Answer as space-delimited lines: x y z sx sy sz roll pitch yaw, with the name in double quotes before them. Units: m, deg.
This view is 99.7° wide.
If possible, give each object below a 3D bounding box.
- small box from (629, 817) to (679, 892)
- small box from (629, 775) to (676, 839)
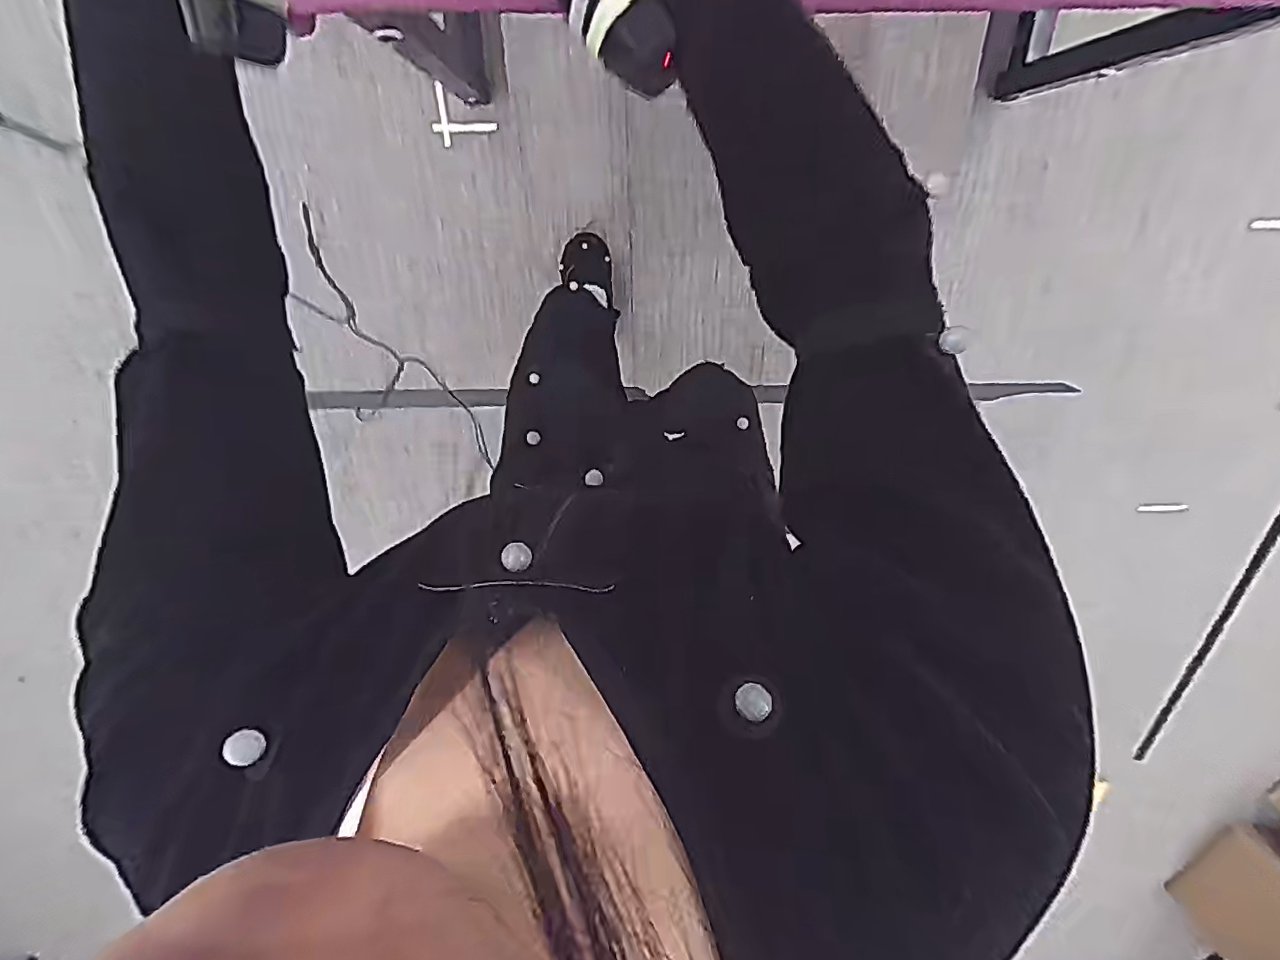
"small box" 0.049 1.352 1.963 0.168 0.176 0.179 -5 117 0
"small box" 0.047 1.278 2.110 0.168 0.176 0.179 -6 118 1
